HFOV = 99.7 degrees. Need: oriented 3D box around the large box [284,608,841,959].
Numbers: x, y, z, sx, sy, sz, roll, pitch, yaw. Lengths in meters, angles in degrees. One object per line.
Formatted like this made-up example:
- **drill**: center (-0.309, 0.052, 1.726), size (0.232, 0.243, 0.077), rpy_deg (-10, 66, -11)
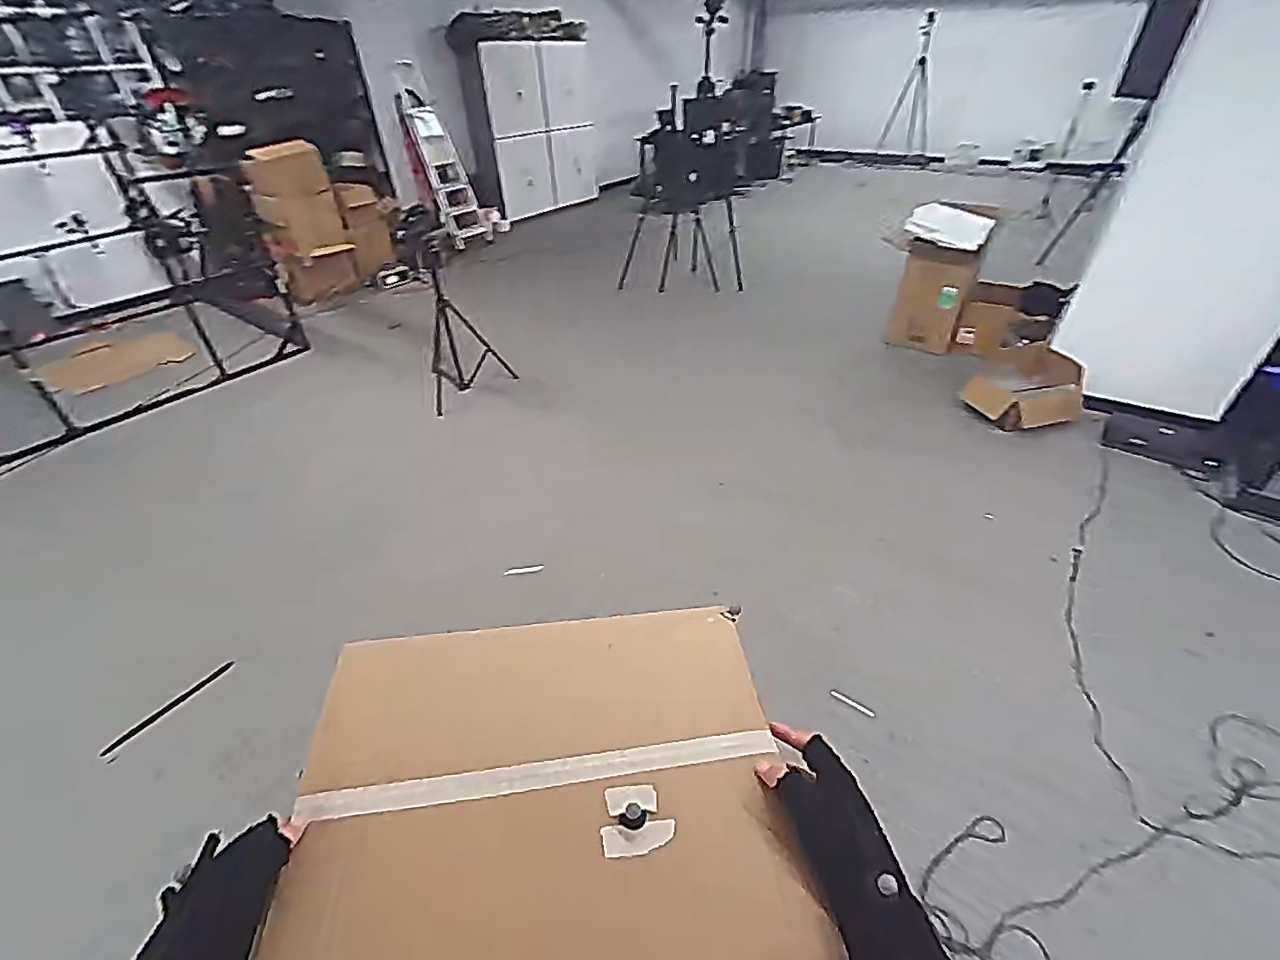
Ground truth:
- **large box**: center (-0.076, 0.371, 0.574), size (0.408, 0.320, 0.320), rpy_deg (-3, 40, -8)
